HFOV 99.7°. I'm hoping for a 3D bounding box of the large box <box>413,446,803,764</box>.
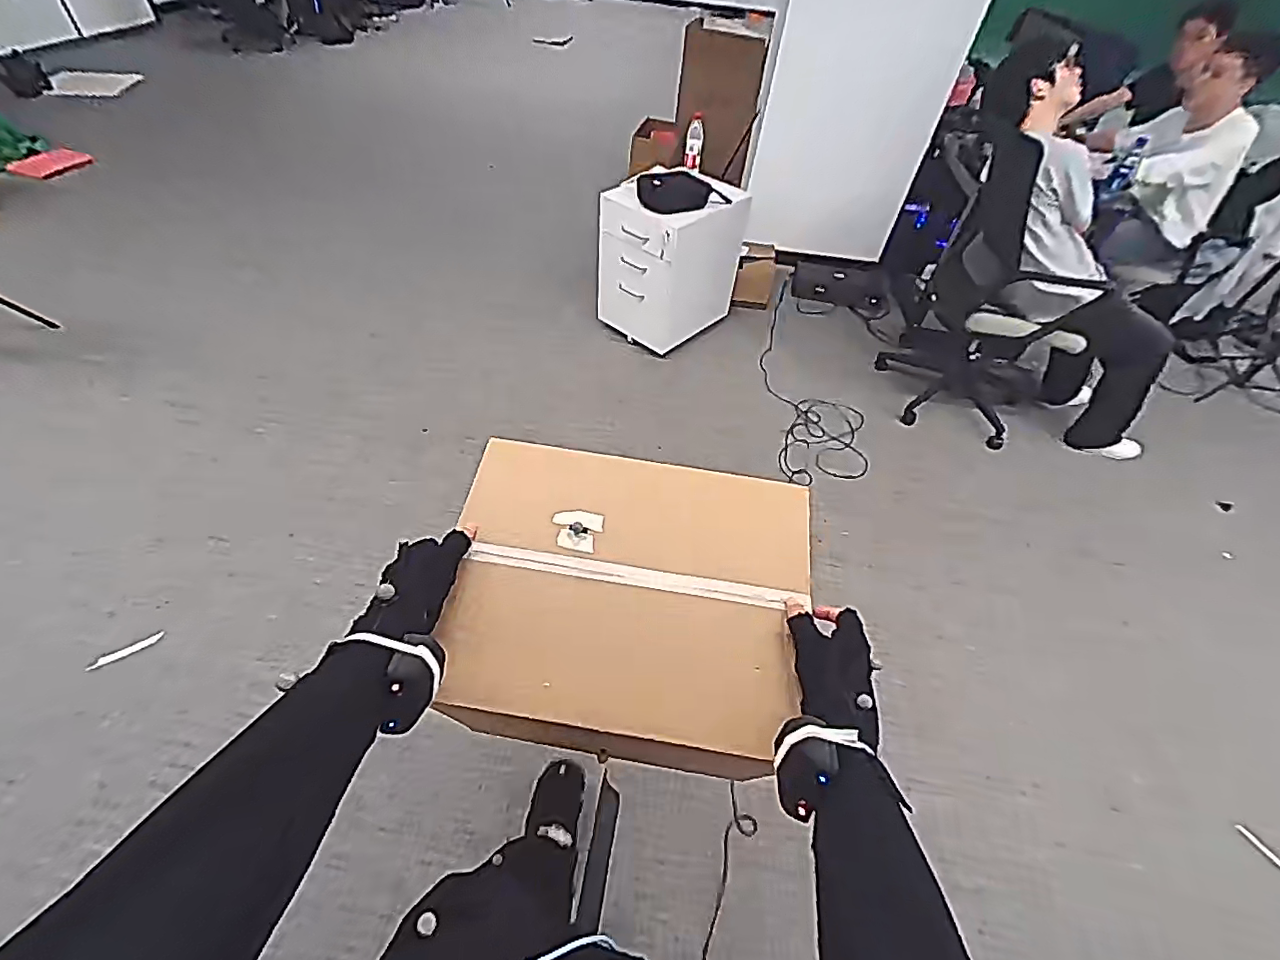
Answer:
[{"bbox_3d":[-0.018,0.186,0.743,0.408,0.320,0.320,9,58,3],"label":"large box"}]
